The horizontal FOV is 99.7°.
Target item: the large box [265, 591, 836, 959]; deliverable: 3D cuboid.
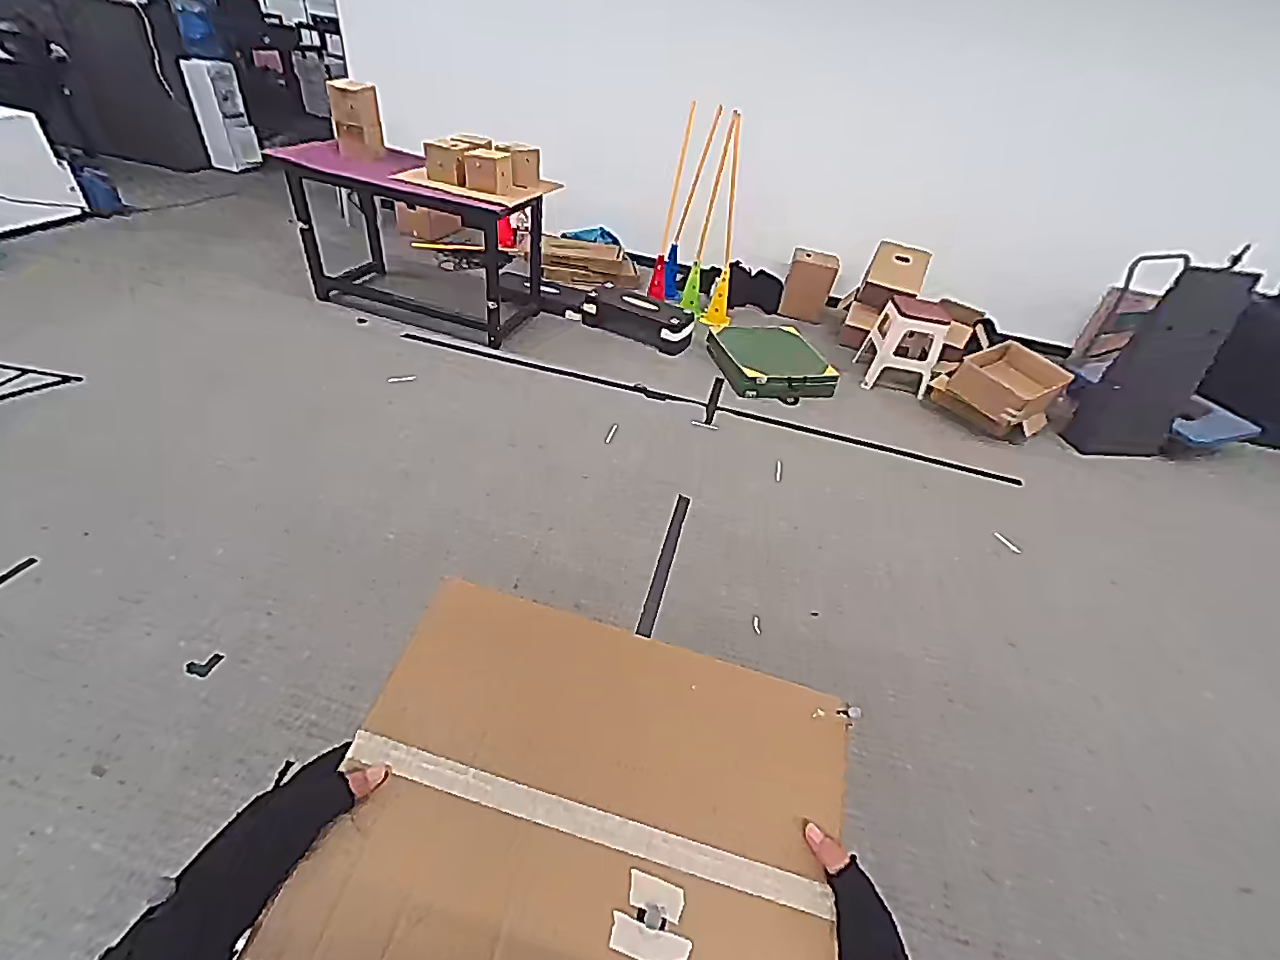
[{"bbox_3d":[-0.056,0.364,0.571,0.408,0.320,0.320,16,57,4],"label":"large box"}]
